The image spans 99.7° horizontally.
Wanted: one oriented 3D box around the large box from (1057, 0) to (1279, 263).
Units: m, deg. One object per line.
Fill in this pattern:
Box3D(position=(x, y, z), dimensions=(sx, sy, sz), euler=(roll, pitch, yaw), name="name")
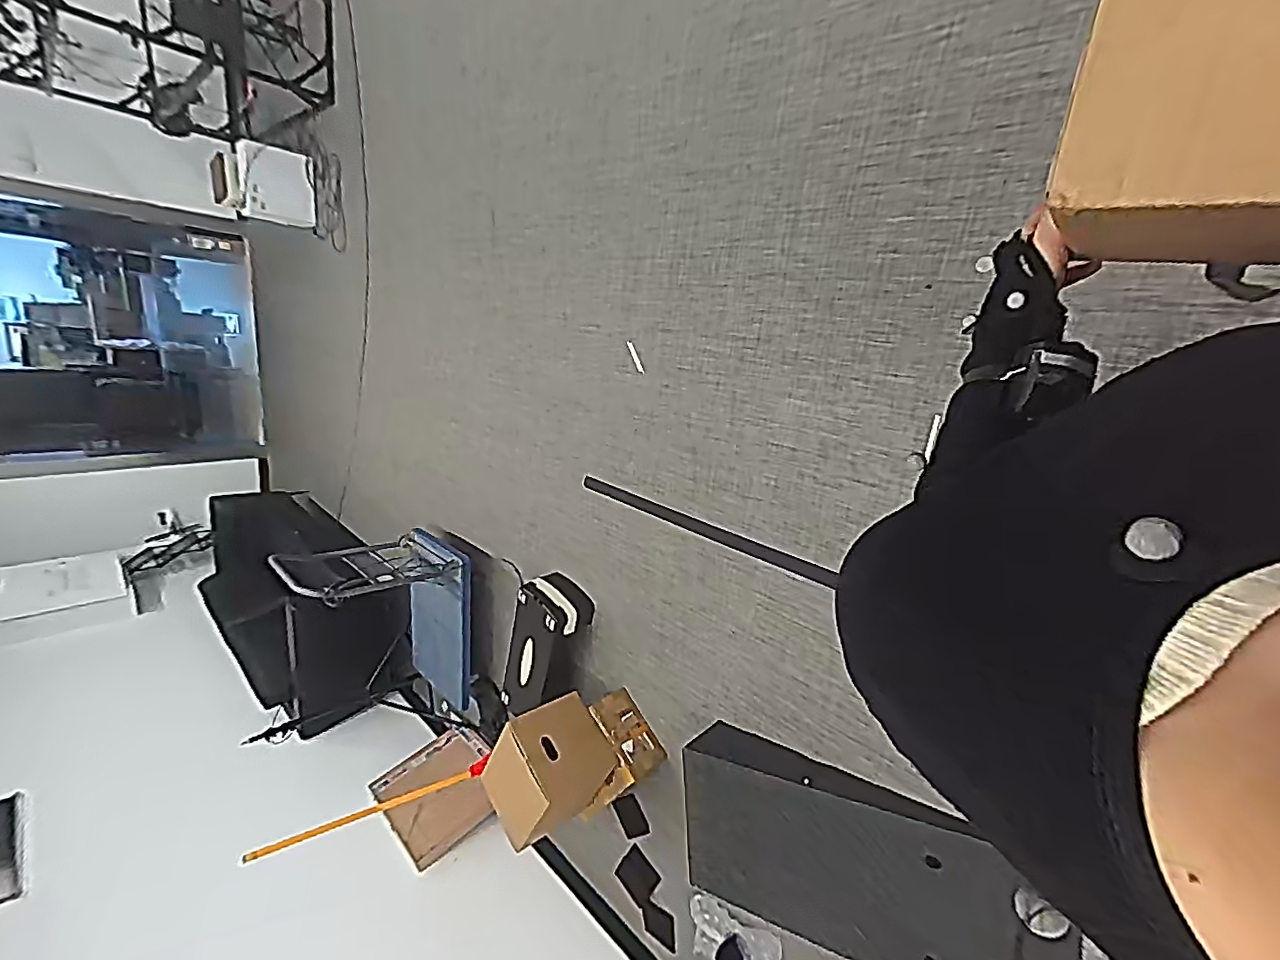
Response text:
Box3D(position=(0.459, -0.269, 0.223), dimensions=(0.408, 0.320, 0.320), euler=(17, 114, 35), name="large box")
